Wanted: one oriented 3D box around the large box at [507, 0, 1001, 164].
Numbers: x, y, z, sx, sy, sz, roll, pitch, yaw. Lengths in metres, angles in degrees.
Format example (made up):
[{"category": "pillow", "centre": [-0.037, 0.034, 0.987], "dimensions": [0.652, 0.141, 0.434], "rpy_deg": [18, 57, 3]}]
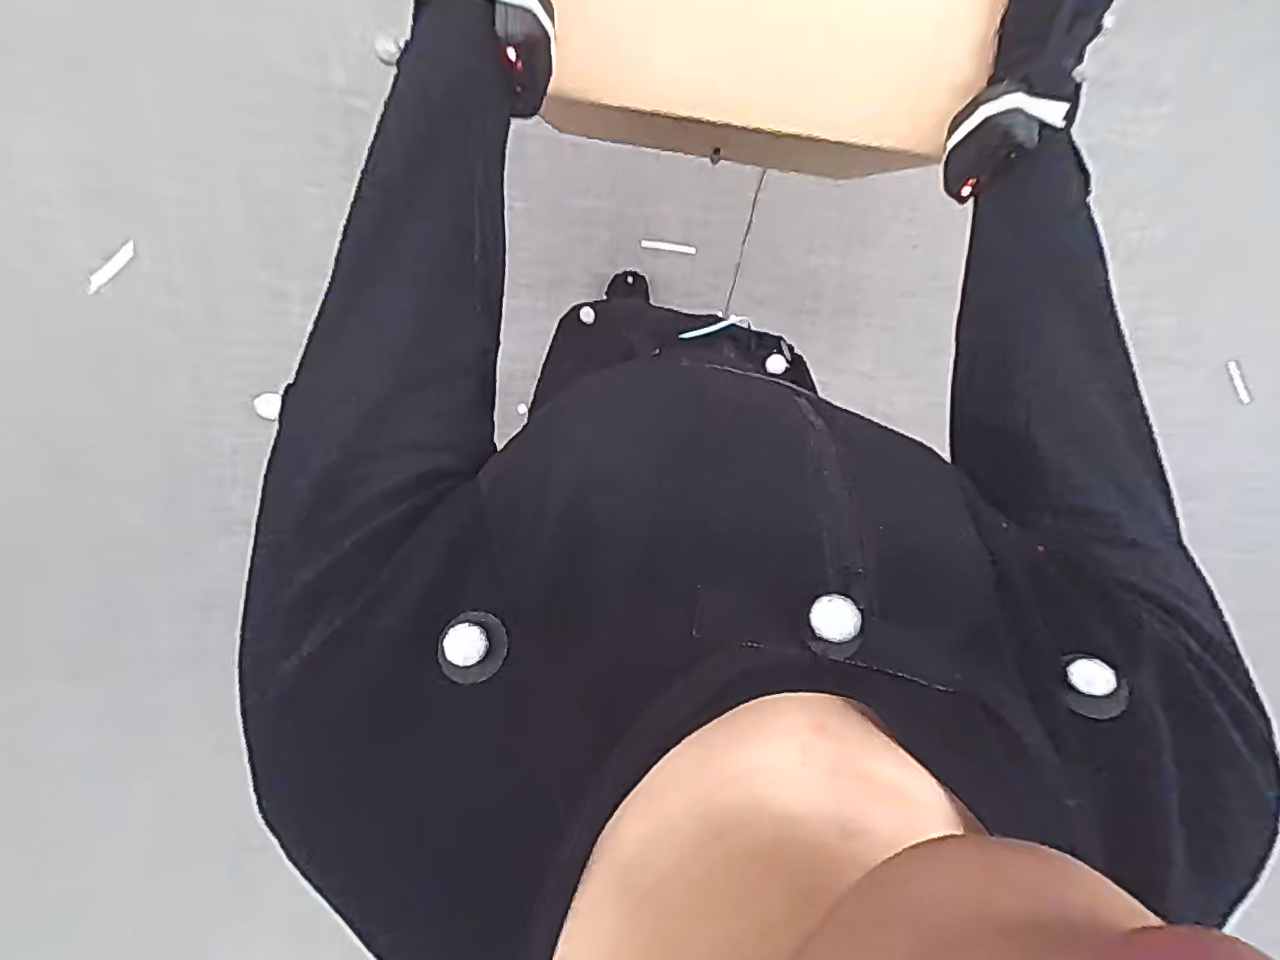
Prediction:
[{"category": "large box", "centre": [0.108, -0.522, 0.537], "dimensions": [0.408, 0.320, 0.320], "rpy_deg": [8, 115, -2]}]
